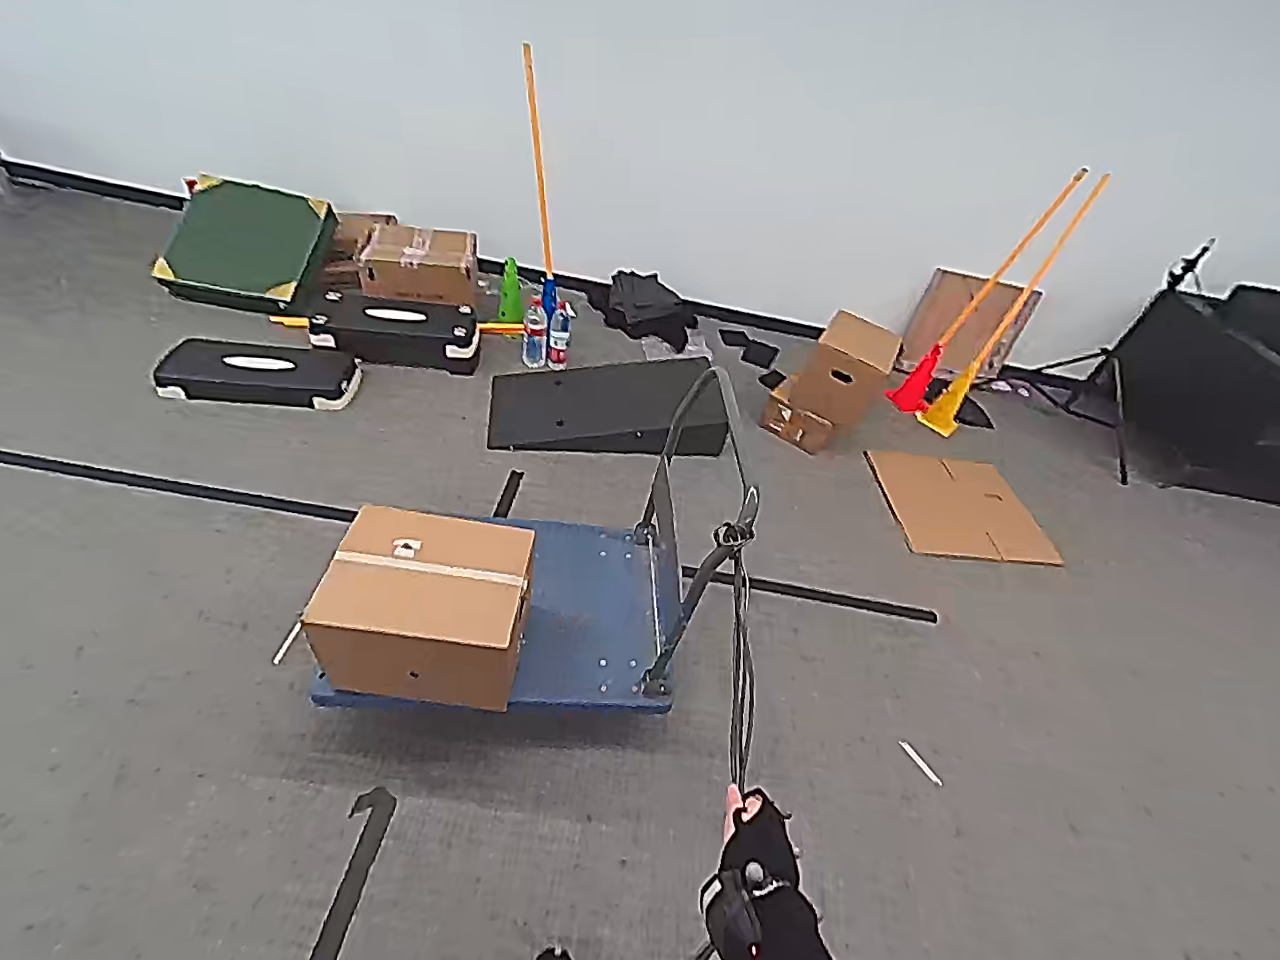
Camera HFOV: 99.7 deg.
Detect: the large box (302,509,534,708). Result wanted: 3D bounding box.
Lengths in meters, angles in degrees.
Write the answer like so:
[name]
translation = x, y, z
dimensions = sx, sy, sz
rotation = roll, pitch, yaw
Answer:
[large box]
translation = -0.473, 0.306, 1.262
dimensions = 0.408, 0.320, 0.320
rotation = 9, 43, -5
